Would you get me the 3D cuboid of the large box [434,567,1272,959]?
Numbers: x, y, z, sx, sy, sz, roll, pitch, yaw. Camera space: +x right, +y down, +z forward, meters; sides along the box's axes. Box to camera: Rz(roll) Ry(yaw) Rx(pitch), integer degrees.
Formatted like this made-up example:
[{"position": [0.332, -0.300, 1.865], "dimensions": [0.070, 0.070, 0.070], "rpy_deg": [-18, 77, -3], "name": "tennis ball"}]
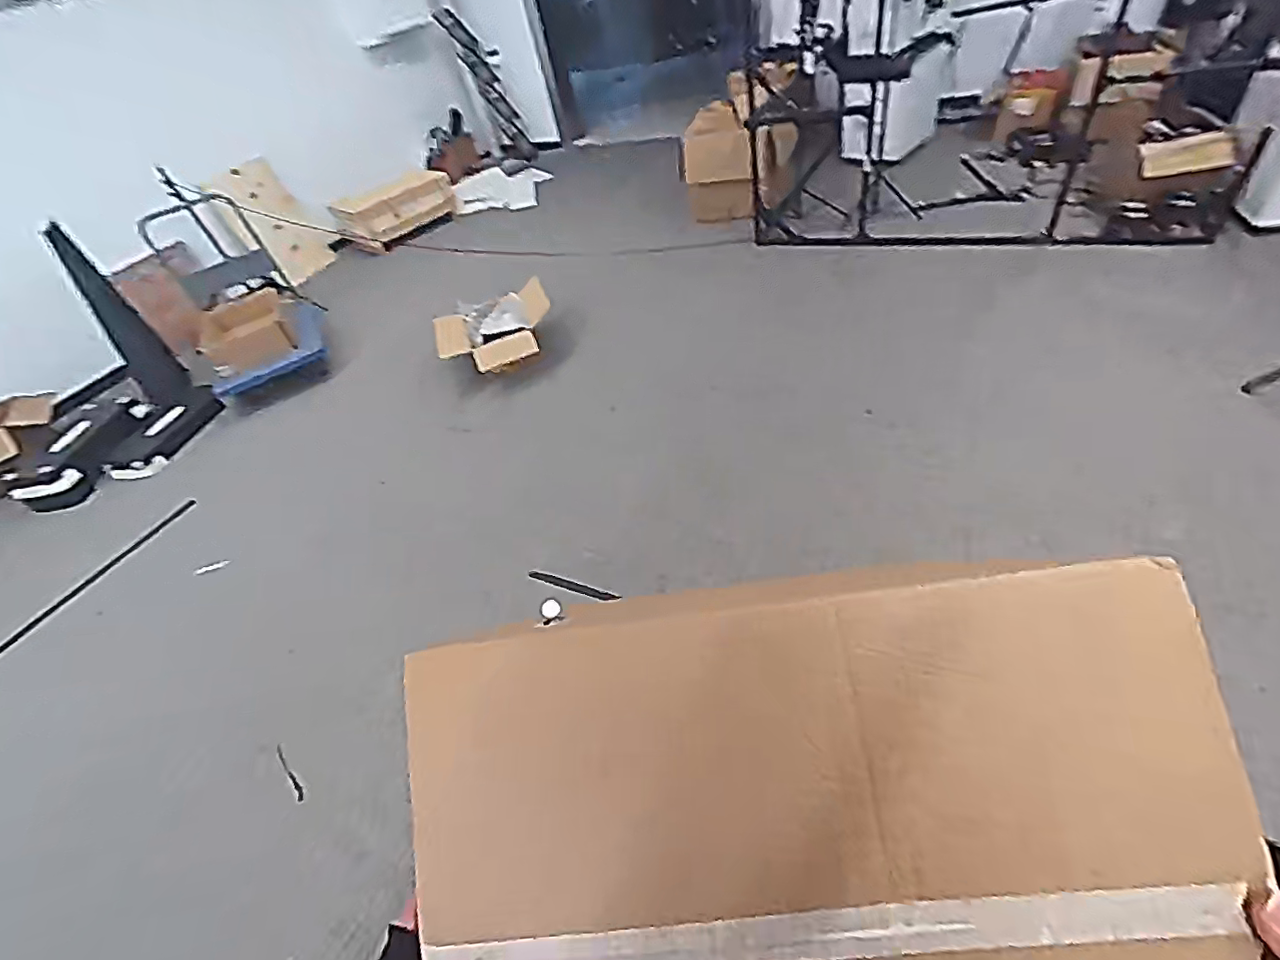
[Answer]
[{"position": [0.109, 0.250, 0.420], "dimensions": [0.408, 0.320, 0.320], "rpy_deg": [-9, 81, 5], "name": "large box"}]
